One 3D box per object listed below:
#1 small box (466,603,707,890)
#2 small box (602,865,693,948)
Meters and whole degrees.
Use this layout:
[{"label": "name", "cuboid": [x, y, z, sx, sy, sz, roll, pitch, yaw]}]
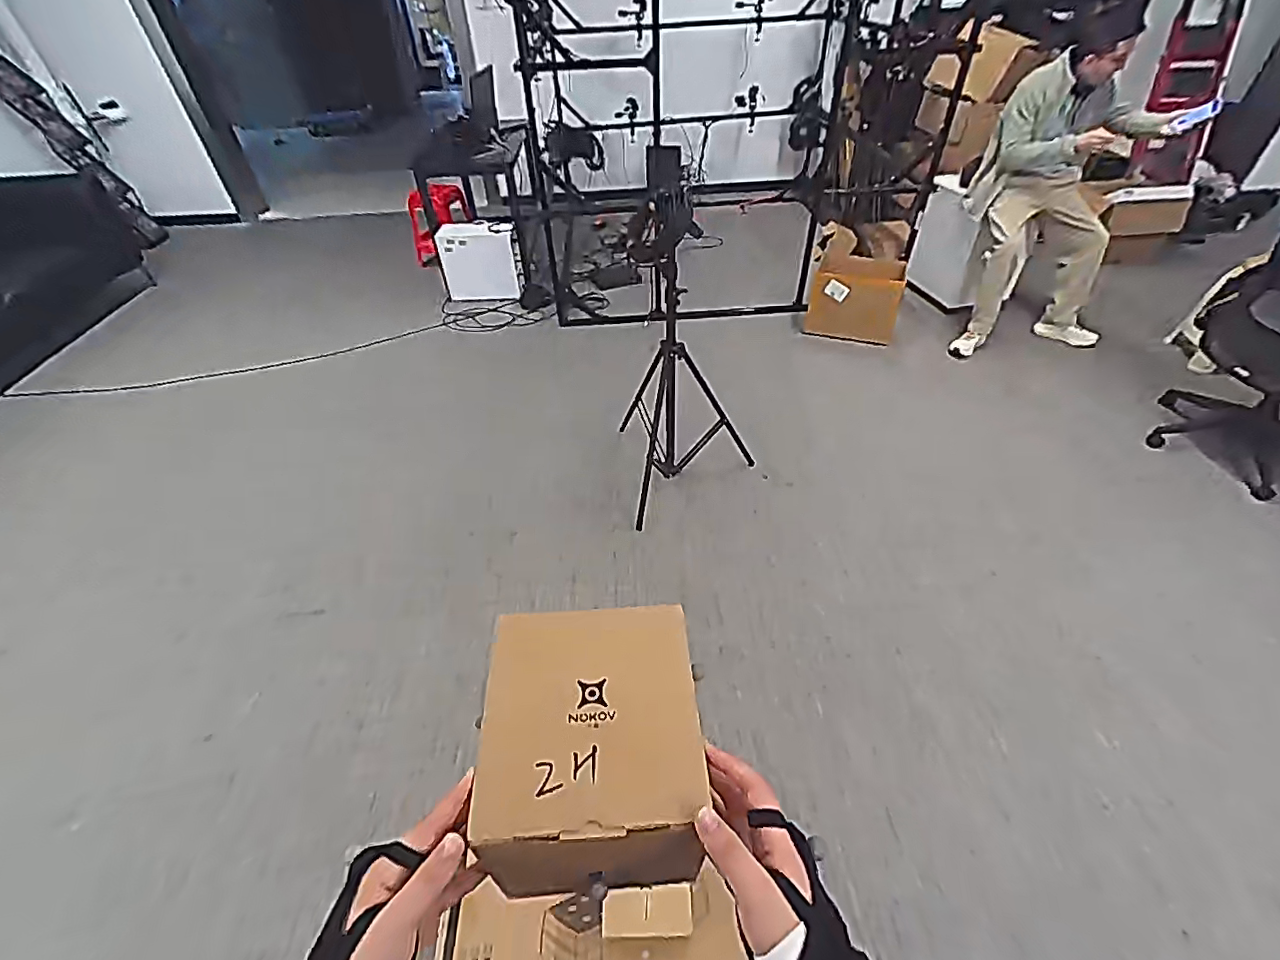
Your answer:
[{"label": "small box", "cuboid": [-0.041, 0.231, 0.476, 0.168, 0.176, 0.179, -3, 43, -3]}, {"label": "small box", "cuboid": [0.016, 0.809, 1.080, 0.168, 0.176, 0.179, -2, 44, 1]}]
